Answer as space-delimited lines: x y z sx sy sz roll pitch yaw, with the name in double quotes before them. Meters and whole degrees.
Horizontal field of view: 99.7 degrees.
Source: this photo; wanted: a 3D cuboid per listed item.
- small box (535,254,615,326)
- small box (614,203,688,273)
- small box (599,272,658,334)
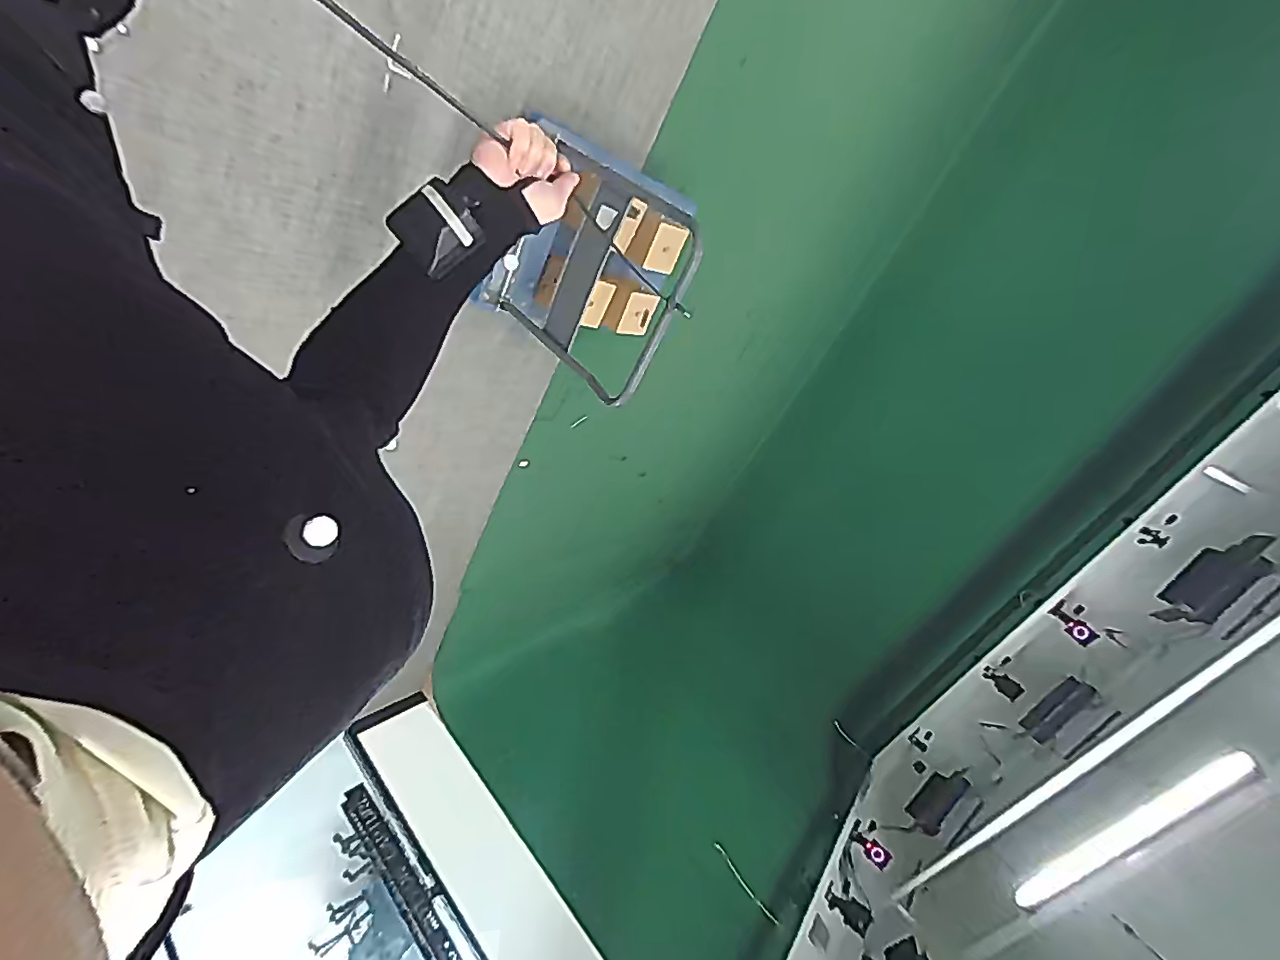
"small box" -0.227 -0.656 1.869 0.179 0.176 0.168 -8 134 -53
"small box" 0.033 -0.879 1.963 0.179 0.176 0.168 -14 140 -51
"small box" -0.067 -0.683 2.085 0.179 0.176 0.168 -13 137 -50
